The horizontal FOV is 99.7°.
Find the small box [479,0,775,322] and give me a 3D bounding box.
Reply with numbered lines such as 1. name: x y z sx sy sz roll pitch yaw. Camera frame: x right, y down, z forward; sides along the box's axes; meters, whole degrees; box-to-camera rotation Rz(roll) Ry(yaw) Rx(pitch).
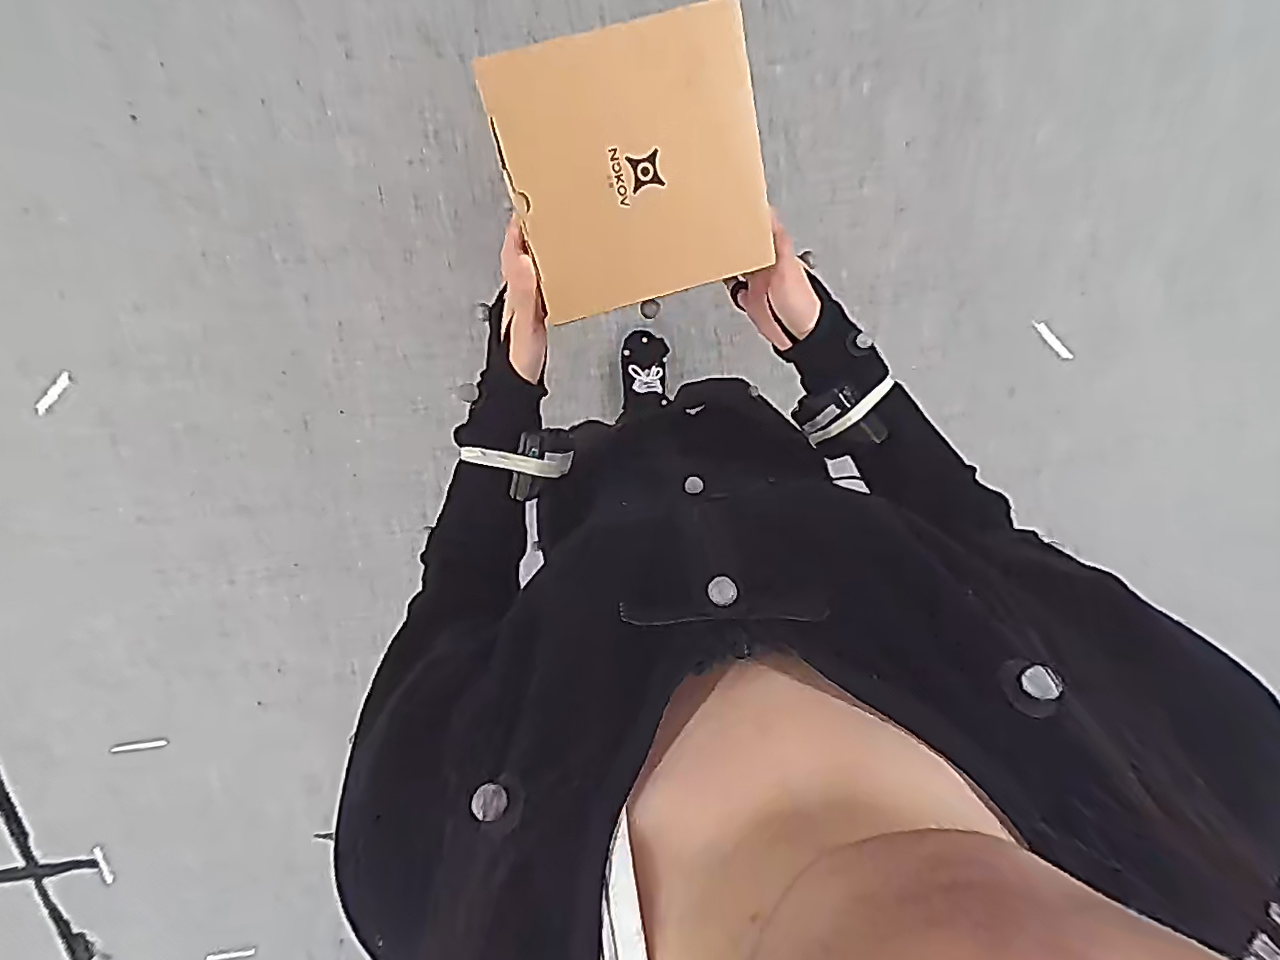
1. small box: -0.012 -0.241 0.441 0.179 0.176 0.168 -17 113 -2
